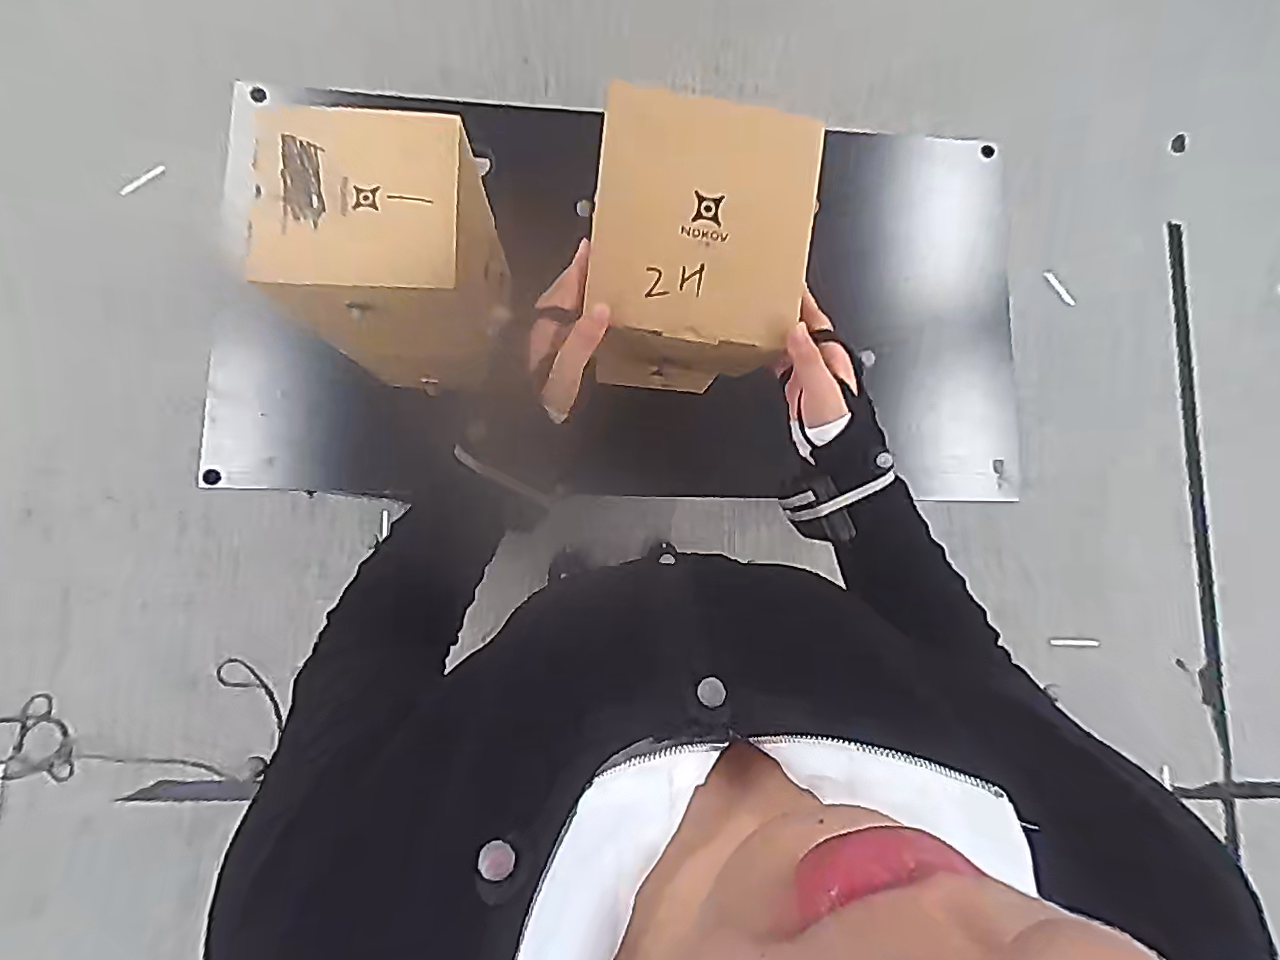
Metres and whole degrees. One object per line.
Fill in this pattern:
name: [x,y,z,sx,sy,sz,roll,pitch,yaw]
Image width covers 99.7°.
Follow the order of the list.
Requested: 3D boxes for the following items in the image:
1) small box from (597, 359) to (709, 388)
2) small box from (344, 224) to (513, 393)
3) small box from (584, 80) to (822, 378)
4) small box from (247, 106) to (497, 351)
small box: [0.029,-0.234,0.742,0.168,0.176,0.179,5,84,-4]
small box: [-0.266,-0.225,0.716,0.168,0.176,0.179,1,85,-4]
small box: [0.040,-0.199,0.483,0.168,0.176,0.179,7,92,-6]
small box: [-0.252,-0.239,0.552,0.179,0.176,0.168,0,84,-5]
